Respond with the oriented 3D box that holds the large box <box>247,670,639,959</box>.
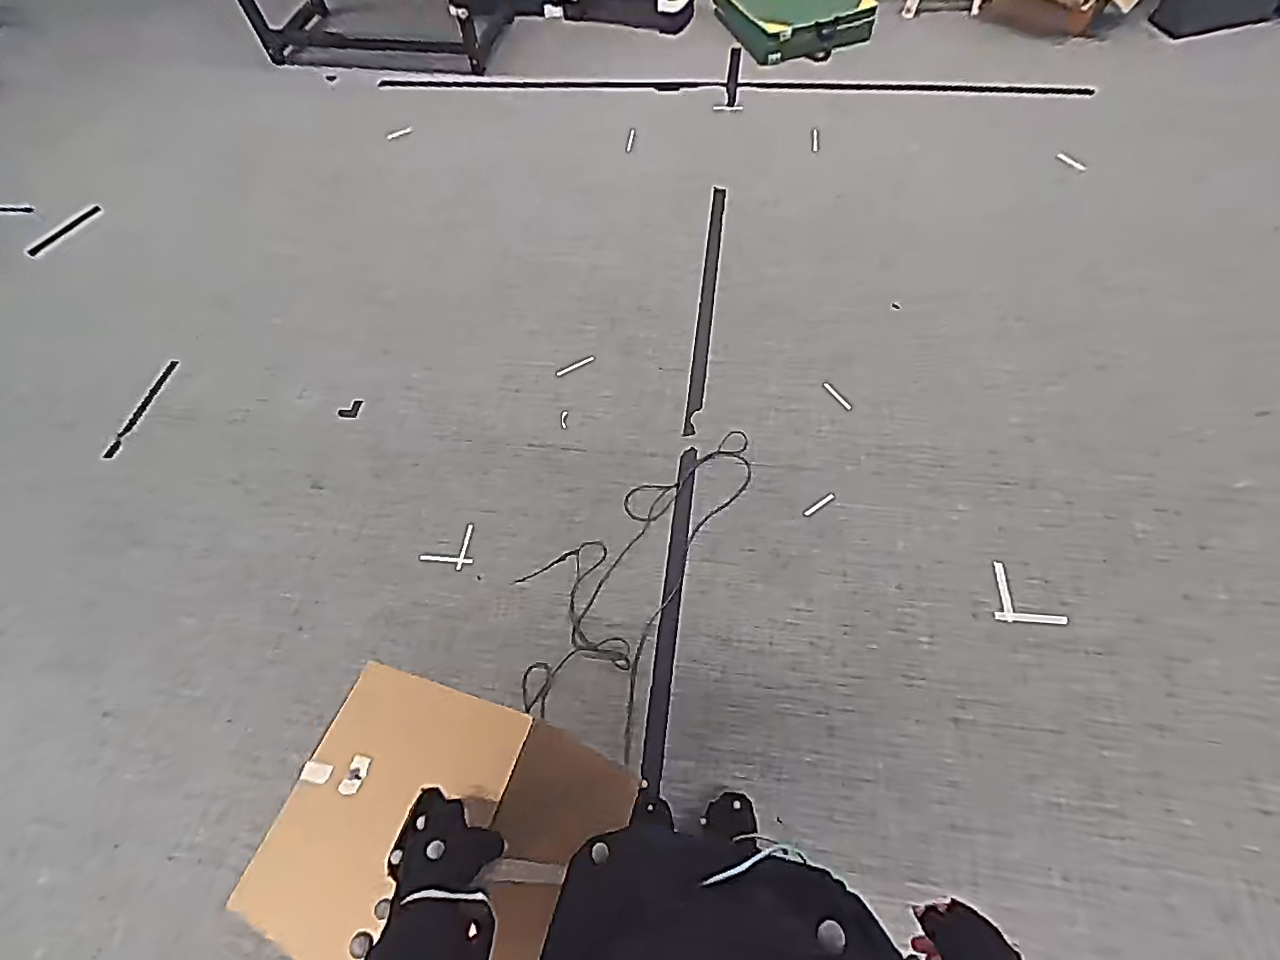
[{"bbox_3d":[-0.249,0.526,0.817,0.320,0.408,0.320,7,58,28],"label":"large box"}]
